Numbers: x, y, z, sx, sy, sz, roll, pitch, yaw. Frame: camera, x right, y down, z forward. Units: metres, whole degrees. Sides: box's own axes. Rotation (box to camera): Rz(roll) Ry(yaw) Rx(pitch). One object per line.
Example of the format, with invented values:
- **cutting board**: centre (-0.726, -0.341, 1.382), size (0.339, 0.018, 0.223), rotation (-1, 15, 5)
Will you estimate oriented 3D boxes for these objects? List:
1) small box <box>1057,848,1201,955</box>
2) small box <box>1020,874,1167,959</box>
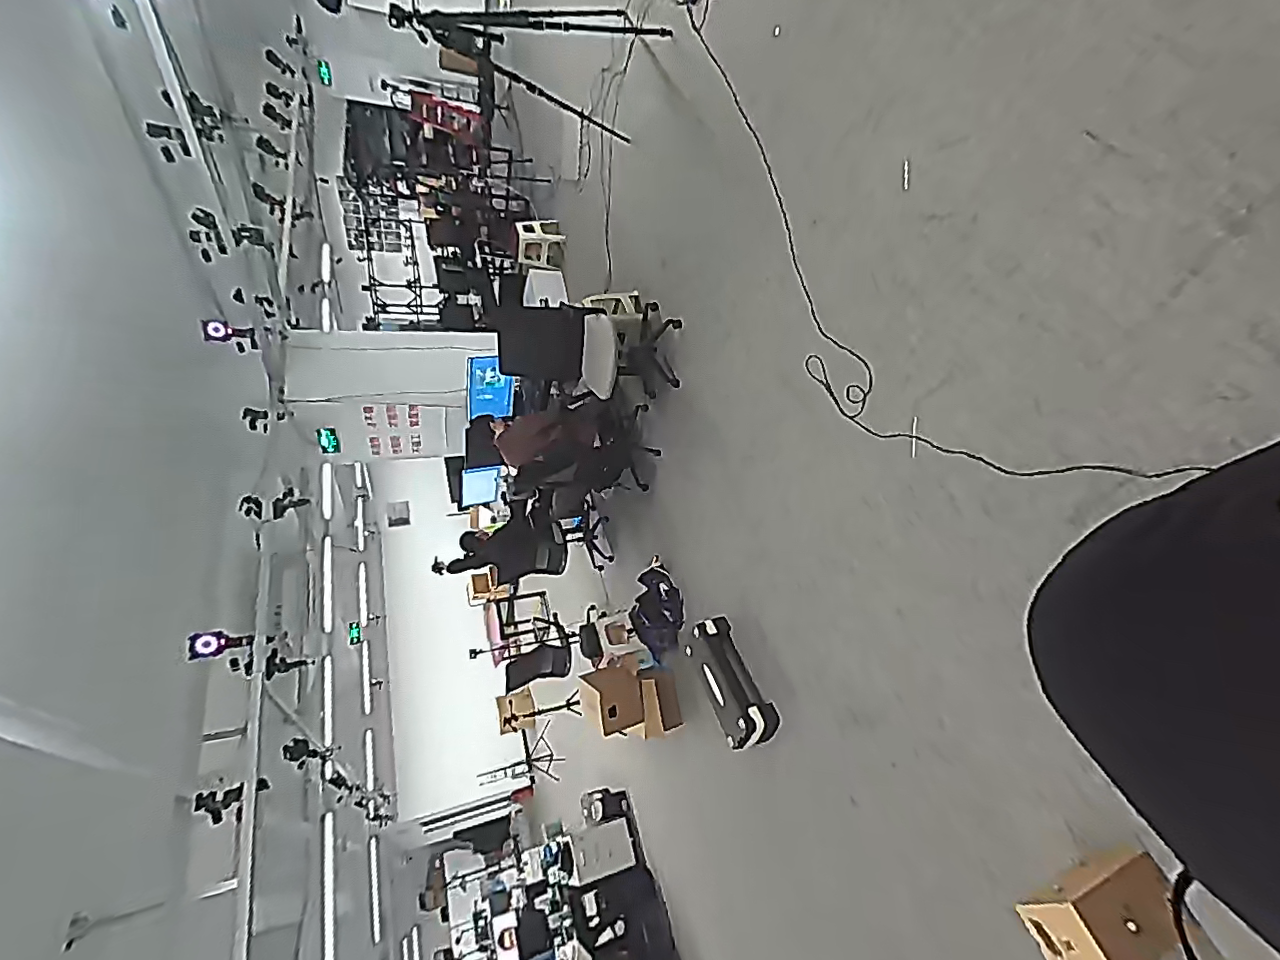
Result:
- **small box**: centre (1.229, 1.058, 1.363), size (0.179, 0.176, 0.168), rotation (112, 143, -47)
- **small box**: centre (1.080, 1.074, 1.294), size (0.179, 0.176, 0.168), rotation (111, 144, -48)
